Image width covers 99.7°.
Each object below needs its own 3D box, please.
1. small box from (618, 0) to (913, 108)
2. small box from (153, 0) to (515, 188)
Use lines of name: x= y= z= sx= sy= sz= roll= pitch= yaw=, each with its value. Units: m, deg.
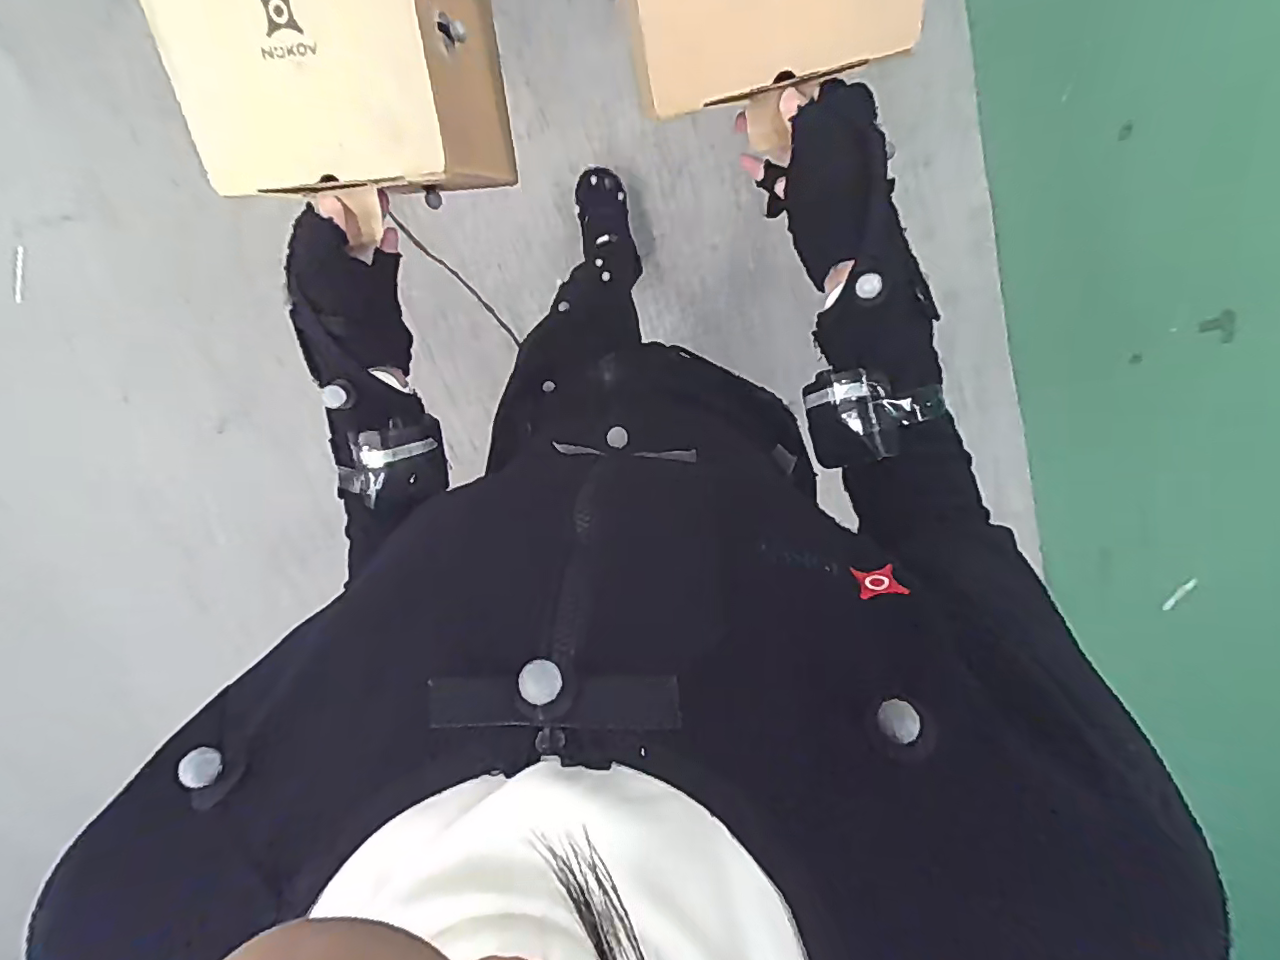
small box: x=0.066 y=-0.370 z=0.357 sx=0.168 sy=0.176 sz=0.179 roll=-13 pitch=125 yaw=4
small box: x=-0.201 y=-0.315 z=0.390 sx=0.168 sy=0.176 sz=0.179 roll=-3 pitch=116 yaw=5
